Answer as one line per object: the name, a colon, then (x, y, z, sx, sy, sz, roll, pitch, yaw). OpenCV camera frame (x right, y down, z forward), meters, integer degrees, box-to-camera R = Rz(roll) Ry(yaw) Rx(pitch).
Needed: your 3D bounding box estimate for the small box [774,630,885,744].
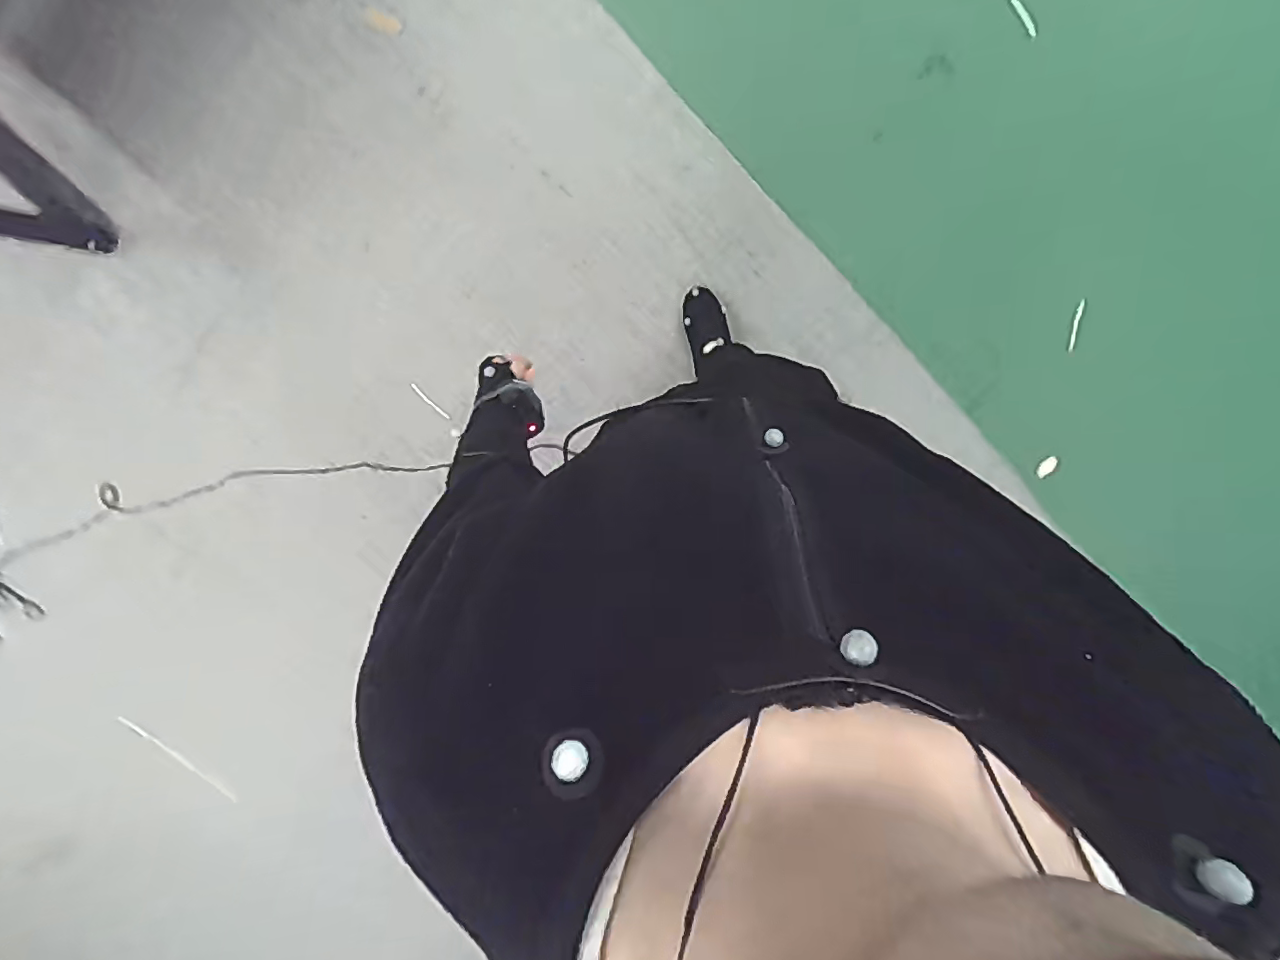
small box: (0.463, 0.508, 1.353, 0.179, 0.176, 0.168, 32, 102, -6)

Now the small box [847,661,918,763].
small box: (0.648, 0.659, 1.553, 0.179, 0.176, 0.168, -37, 100, 10)

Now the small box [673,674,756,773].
small box: (0.207, 0.694, 1.573, 0.168, 0.176, 0.179, -40, 100, 11)
